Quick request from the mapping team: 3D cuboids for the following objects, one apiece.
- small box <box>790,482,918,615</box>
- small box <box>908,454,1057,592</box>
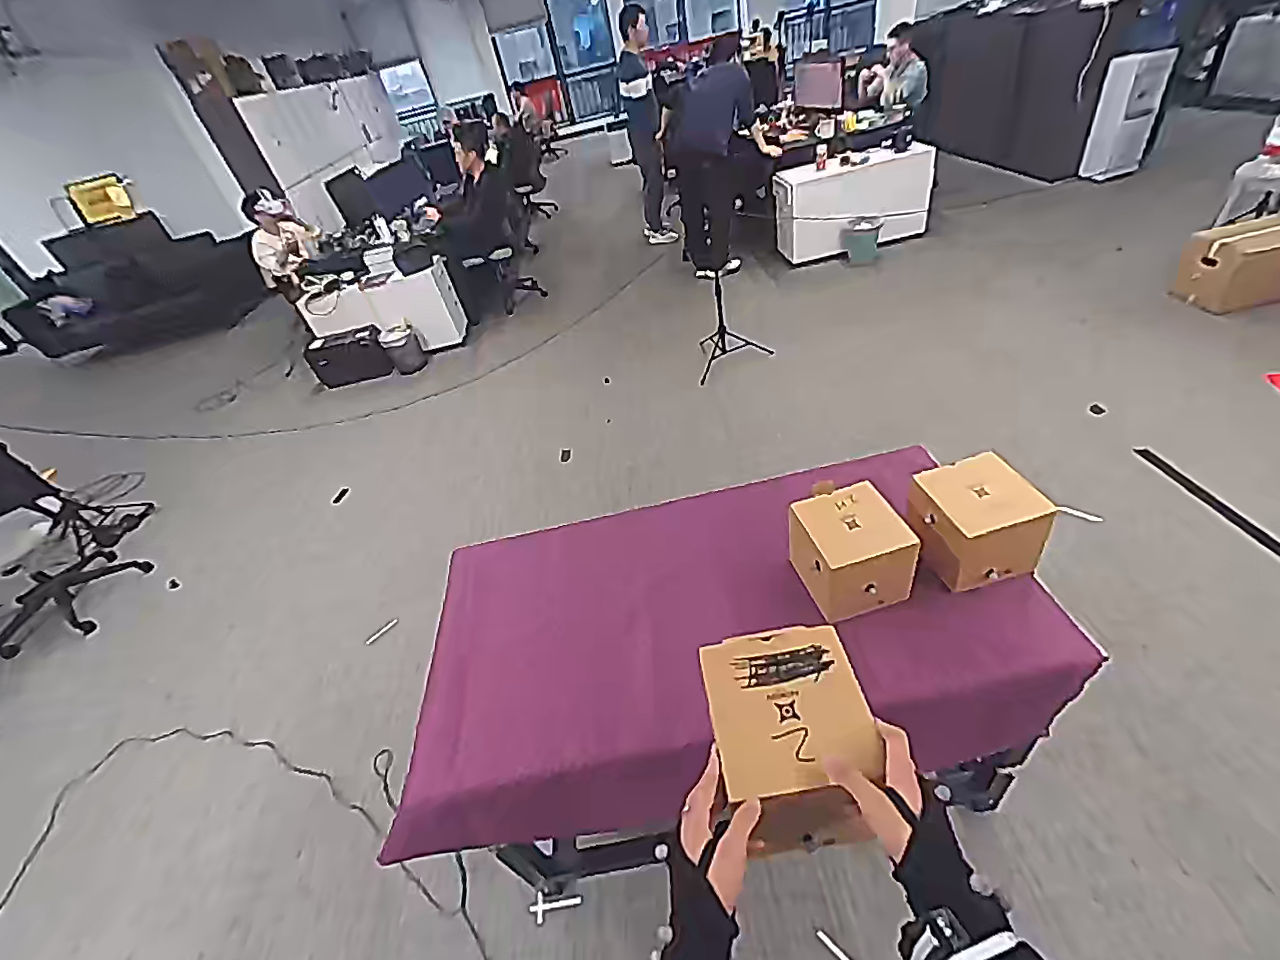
[{"bbox_3d":[0.403,0.138,1.041,0.168,0.176,0.179,-17,39,-2],"label":"small box"},{"bbox_3d":[0.635,0.081,1.033,0.168,0.176,0.179,-17,39,0],"label":"small box"}]
